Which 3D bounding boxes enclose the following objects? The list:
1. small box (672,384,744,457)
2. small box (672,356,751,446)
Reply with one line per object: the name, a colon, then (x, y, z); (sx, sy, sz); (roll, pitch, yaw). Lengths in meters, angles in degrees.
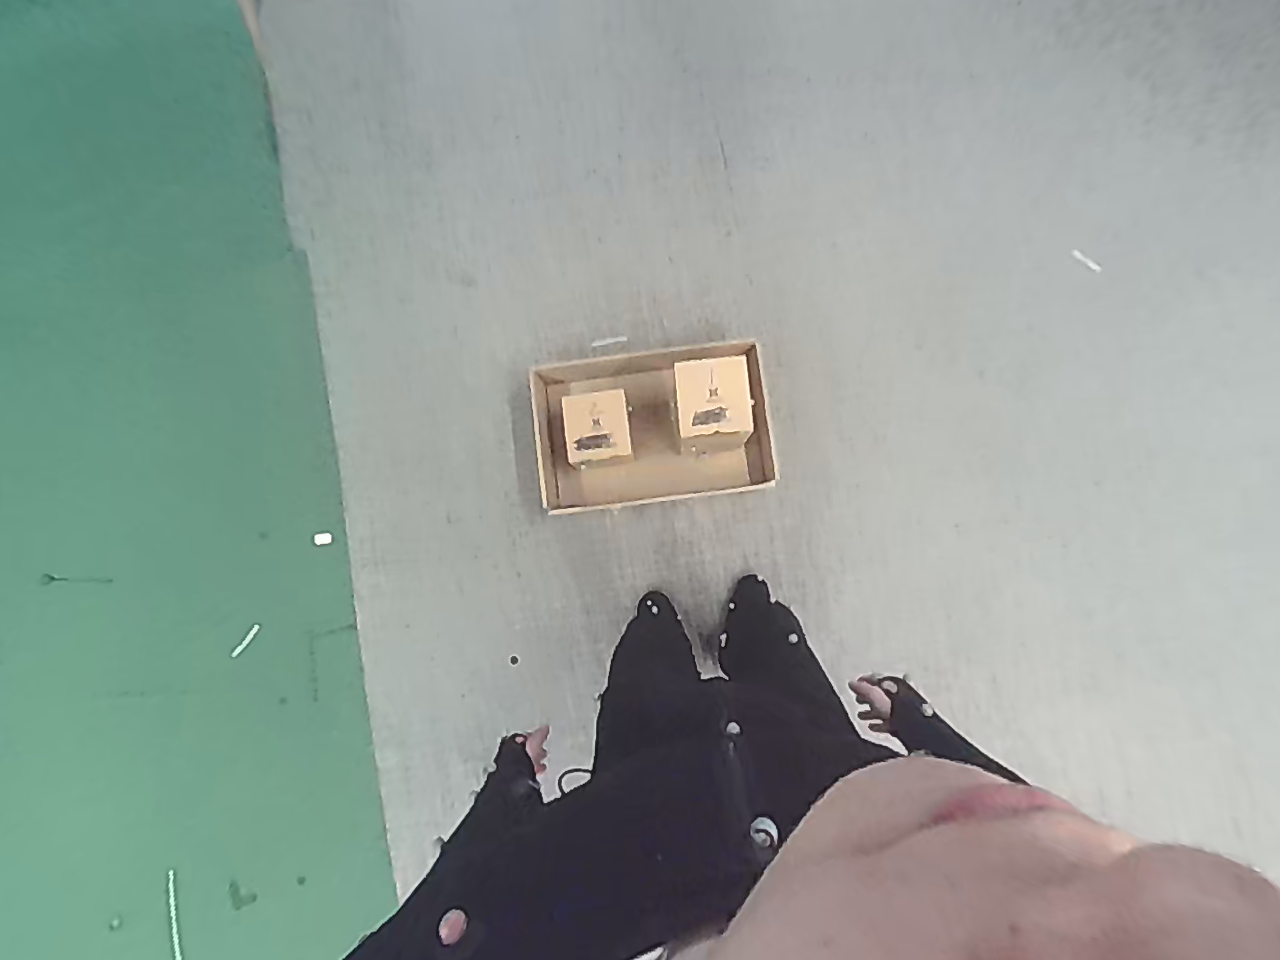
small box: (0.176, -0.165, 1.445); (0.168, 0.176, 0.179); (-7, 85, 3)
small box: (0.166, -0.179, 1.282); (0.168, 0.176, 0.179); (-5, 83, 3)
